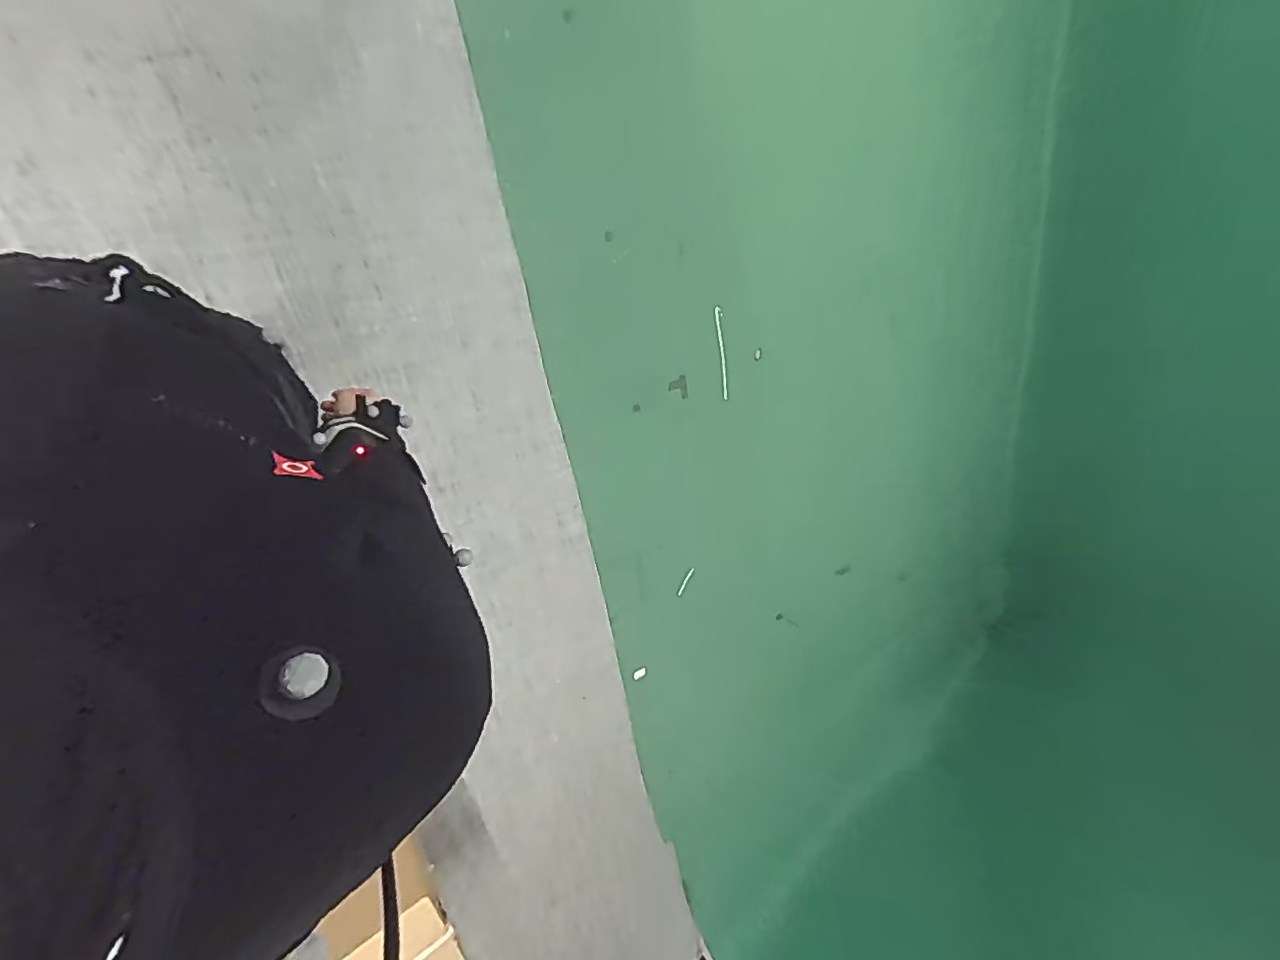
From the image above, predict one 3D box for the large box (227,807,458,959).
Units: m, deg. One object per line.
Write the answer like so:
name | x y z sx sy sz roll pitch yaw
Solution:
large box | -0.737 1.148 1.360 0.408 0.320 0.320 -25 117 -28
